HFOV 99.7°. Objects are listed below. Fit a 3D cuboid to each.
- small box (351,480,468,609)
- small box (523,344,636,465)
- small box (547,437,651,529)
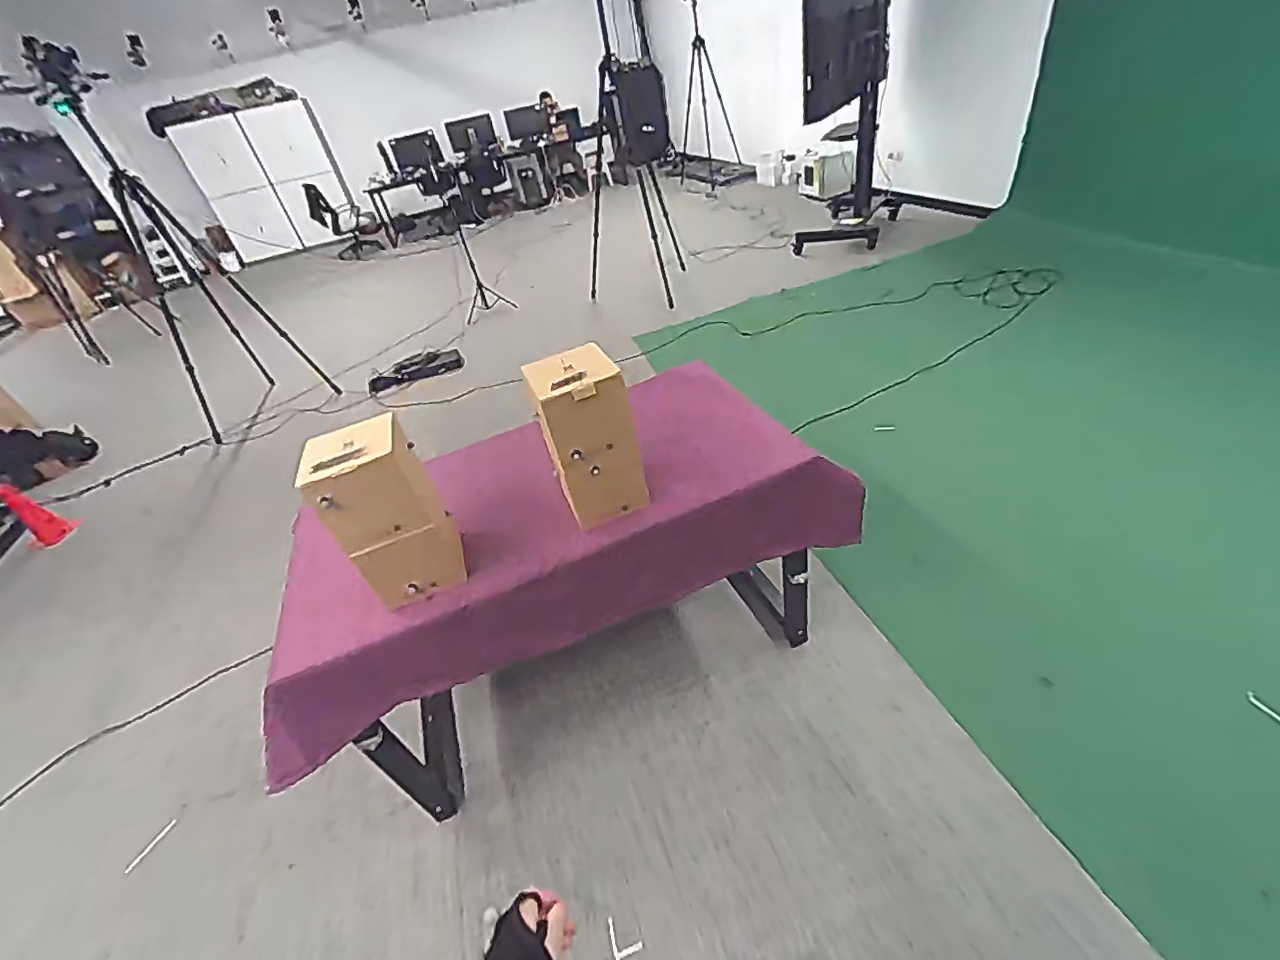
[{"bbox_3d":[-0.474,0.134,1.127,0.168,0.176,0.179,-21,39,-9],"label":"small box"},{"bbox_3d":[-0.121,-0.149,1.107,0.168,0.176,0.179,-22,38,-11],"label":"small box"},{"bbox_3d":[-0.091,-0.022,1.206,0.168,0.176,0.179,-23,38,-10],"label":"small box"}]
